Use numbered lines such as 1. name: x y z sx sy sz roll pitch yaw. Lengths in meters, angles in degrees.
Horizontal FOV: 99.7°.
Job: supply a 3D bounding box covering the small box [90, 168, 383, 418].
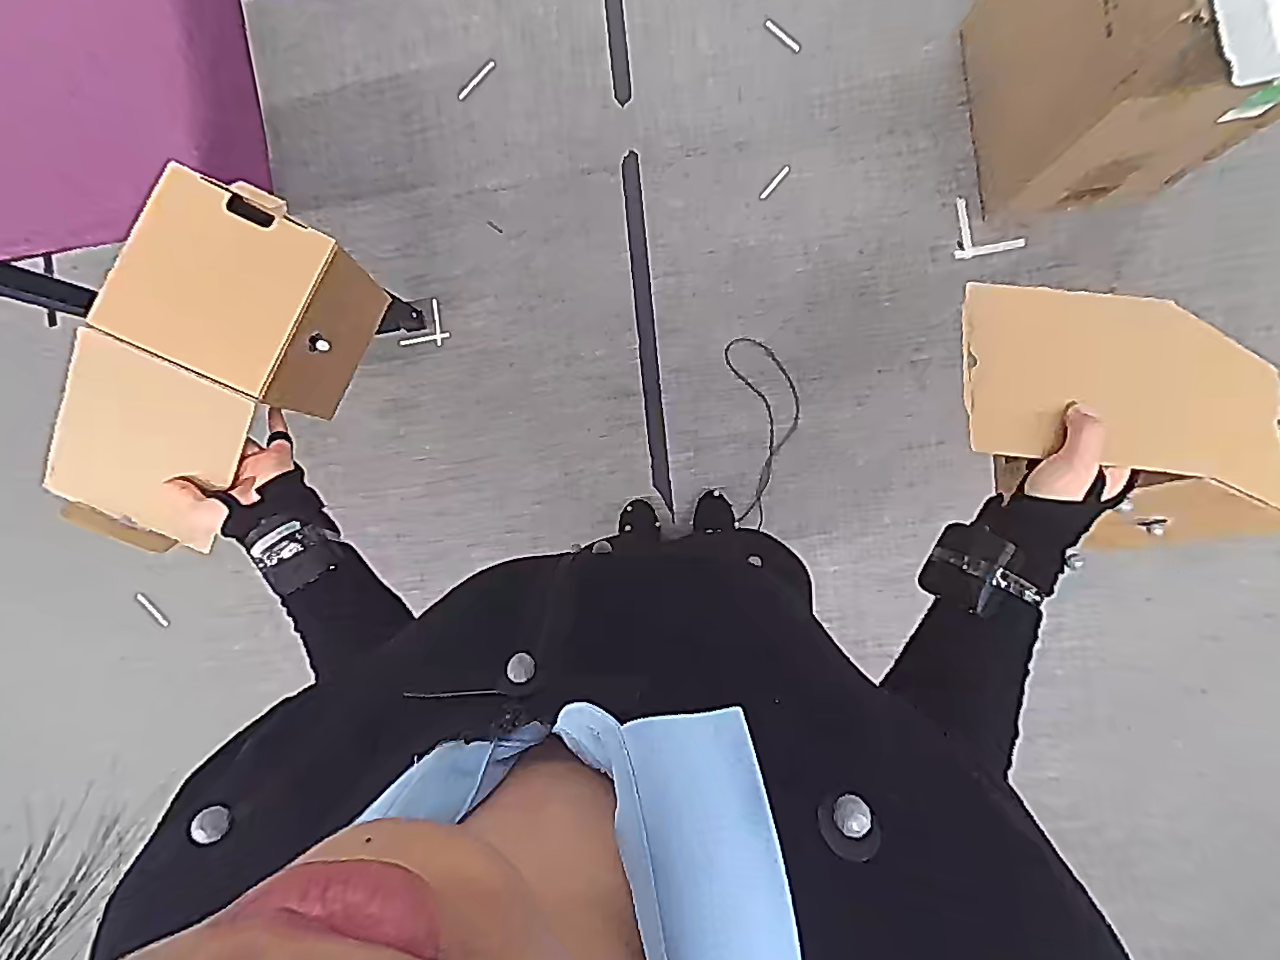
1. small box: -0.413 -0.183 0.593 0.168 0.176 0.179 25 85 -7
